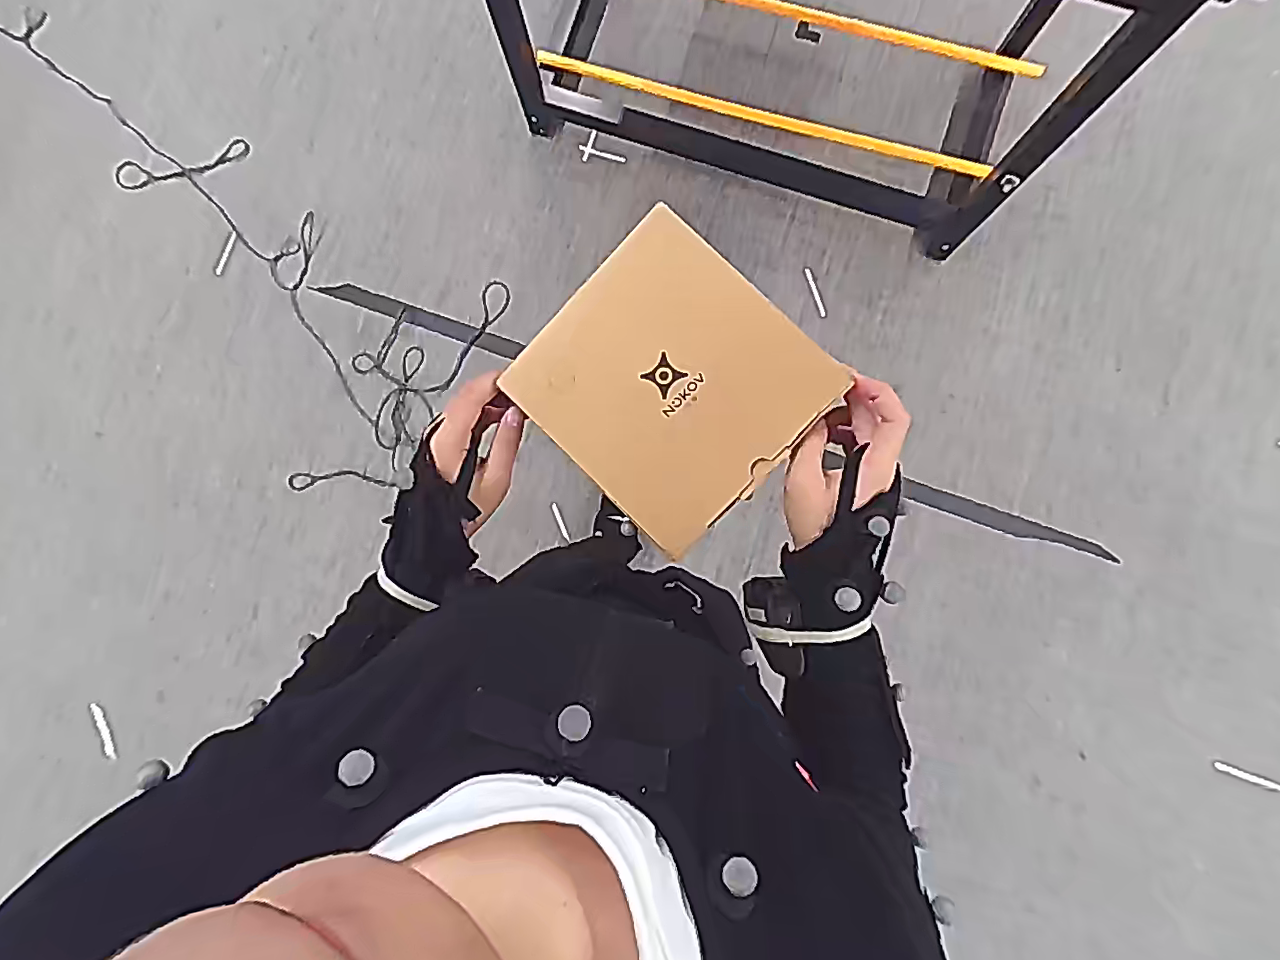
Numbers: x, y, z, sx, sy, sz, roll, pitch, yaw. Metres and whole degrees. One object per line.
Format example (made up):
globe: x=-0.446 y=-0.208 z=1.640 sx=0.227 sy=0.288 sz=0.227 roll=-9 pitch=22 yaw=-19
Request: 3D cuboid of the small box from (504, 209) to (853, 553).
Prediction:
small box: x=0.029 y=-0.064 z=0.437 sx=0.179 sy=0.176 sz=0.168 roll=44 pitch=94 yaw=4
